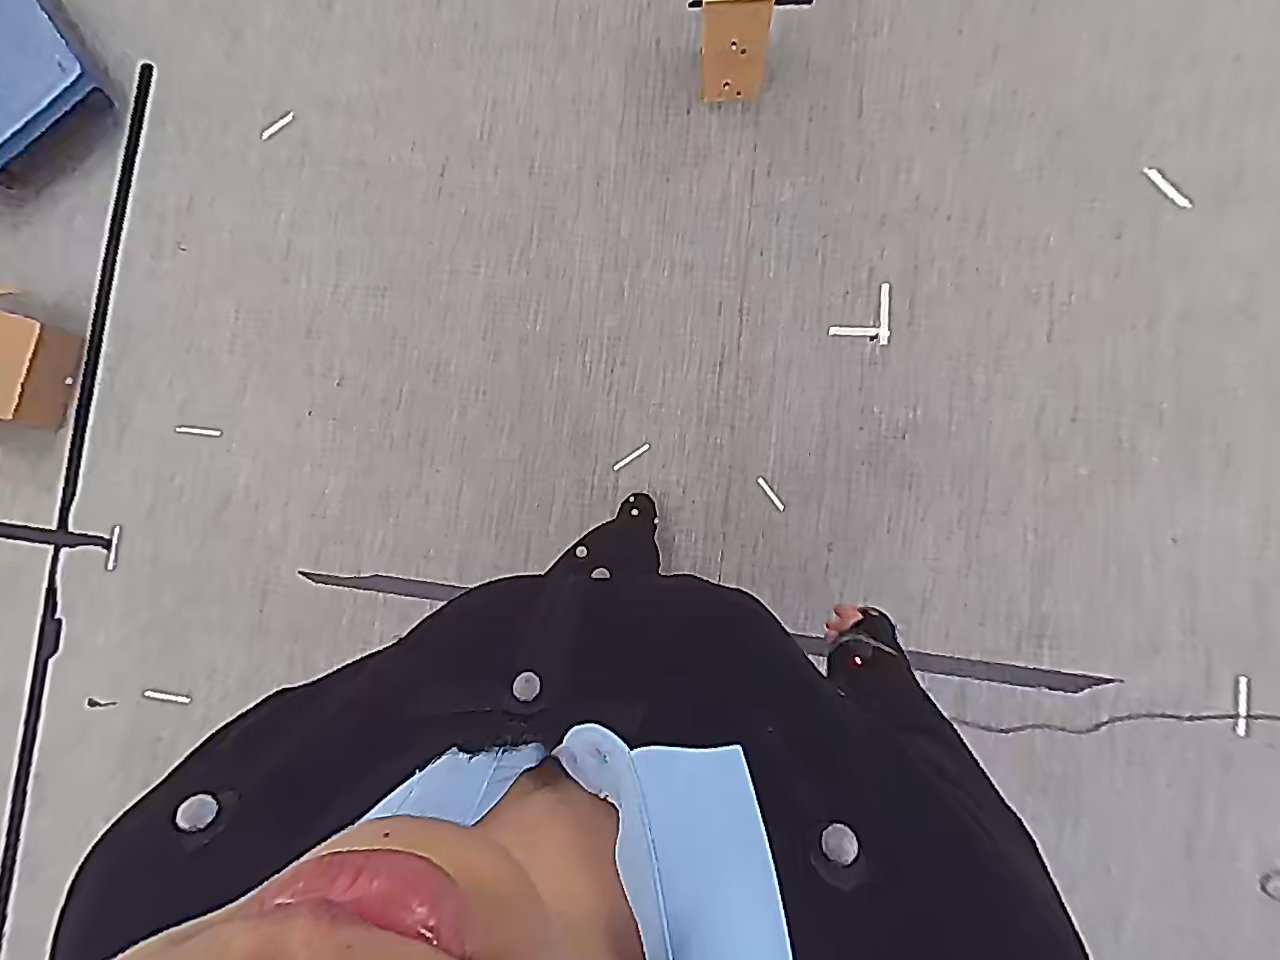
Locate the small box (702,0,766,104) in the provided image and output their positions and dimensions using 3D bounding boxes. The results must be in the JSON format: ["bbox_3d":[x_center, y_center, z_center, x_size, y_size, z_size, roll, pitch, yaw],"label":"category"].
[{"bbox_3d":[0.257,-1.200,1.510,0.168,0.176,0.179,0,85,6],"label":"small box"}]
